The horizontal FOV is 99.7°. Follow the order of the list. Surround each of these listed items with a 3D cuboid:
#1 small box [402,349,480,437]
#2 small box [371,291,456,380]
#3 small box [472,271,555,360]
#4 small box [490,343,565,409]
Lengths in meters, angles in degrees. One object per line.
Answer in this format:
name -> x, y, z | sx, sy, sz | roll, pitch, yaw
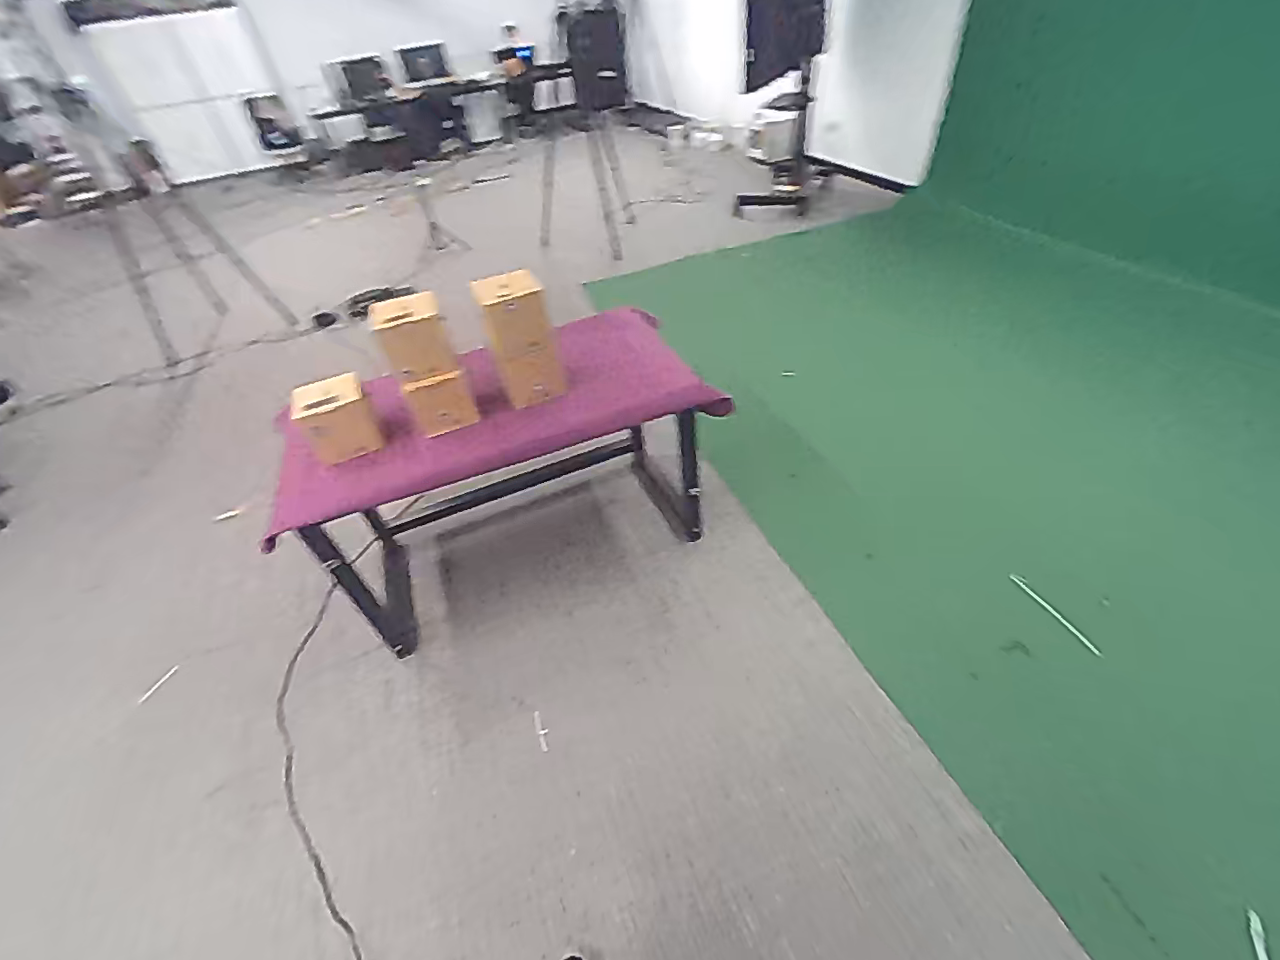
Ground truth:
small box -> -0.583, -0.253, 1.574 | 0.168, 0.176, 0.179 | -21, 45, -14
small box -> -0.617, -0.389, 1.482 | 0.168, 0.176, 0.179 | -17, 43, -11
small box -> -0.355, -0.462, 1.522 | 0.168, 0.176, 0.179 | -23, 44, -15
small box -> -0.340, -0.341, 1.631 | 0.168, 0.176, 0.179 | -22, 45, -14
